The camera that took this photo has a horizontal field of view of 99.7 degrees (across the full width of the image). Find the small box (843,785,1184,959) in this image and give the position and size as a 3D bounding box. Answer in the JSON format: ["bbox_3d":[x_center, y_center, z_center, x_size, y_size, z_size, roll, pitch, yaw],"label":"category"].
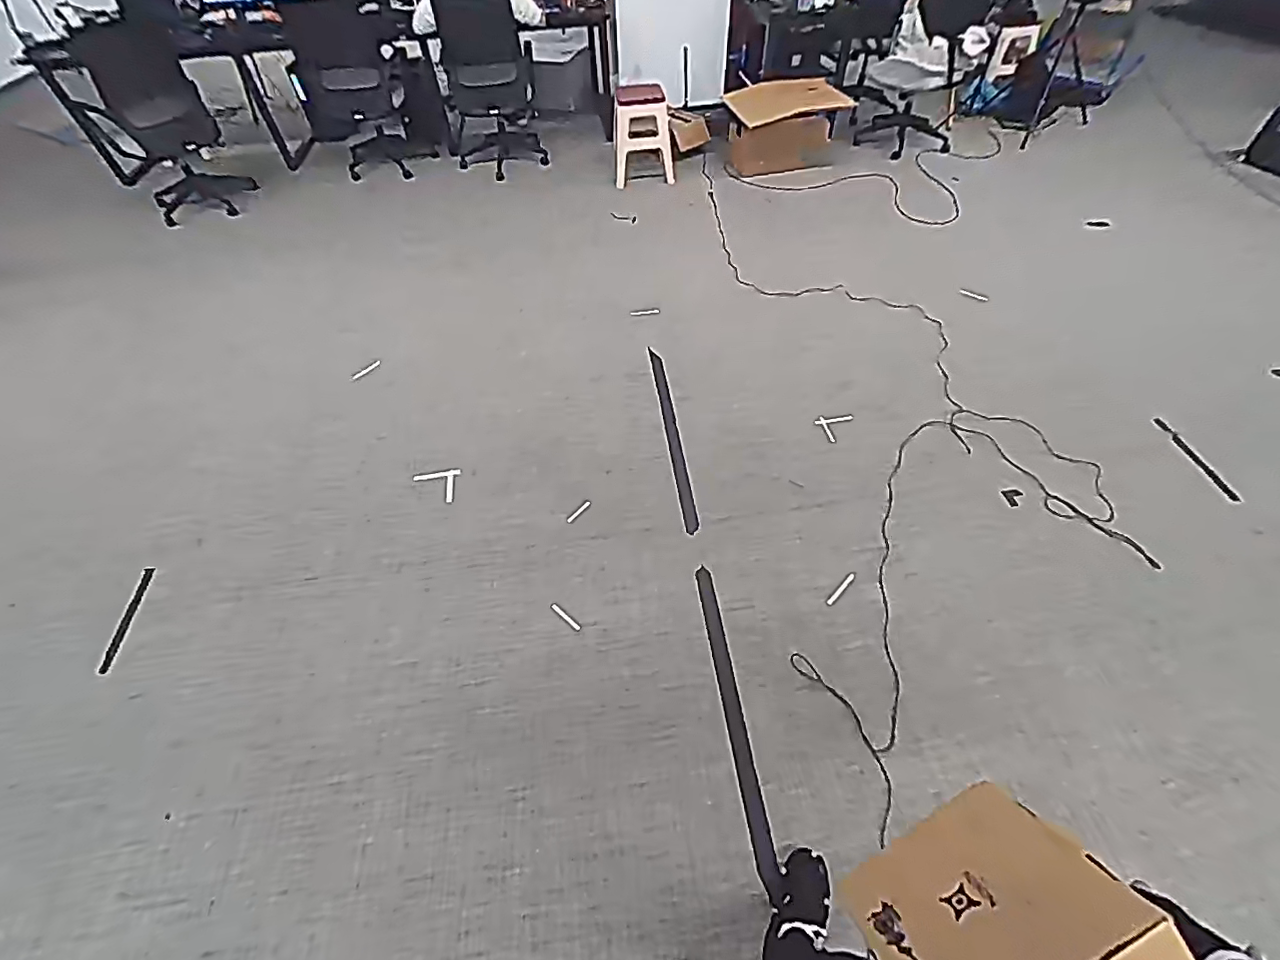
[{"bbox_3d":[0.307,0.402,0.433,0.179,0.168,0.176,-31,90,-4],"label":"small box"}]
